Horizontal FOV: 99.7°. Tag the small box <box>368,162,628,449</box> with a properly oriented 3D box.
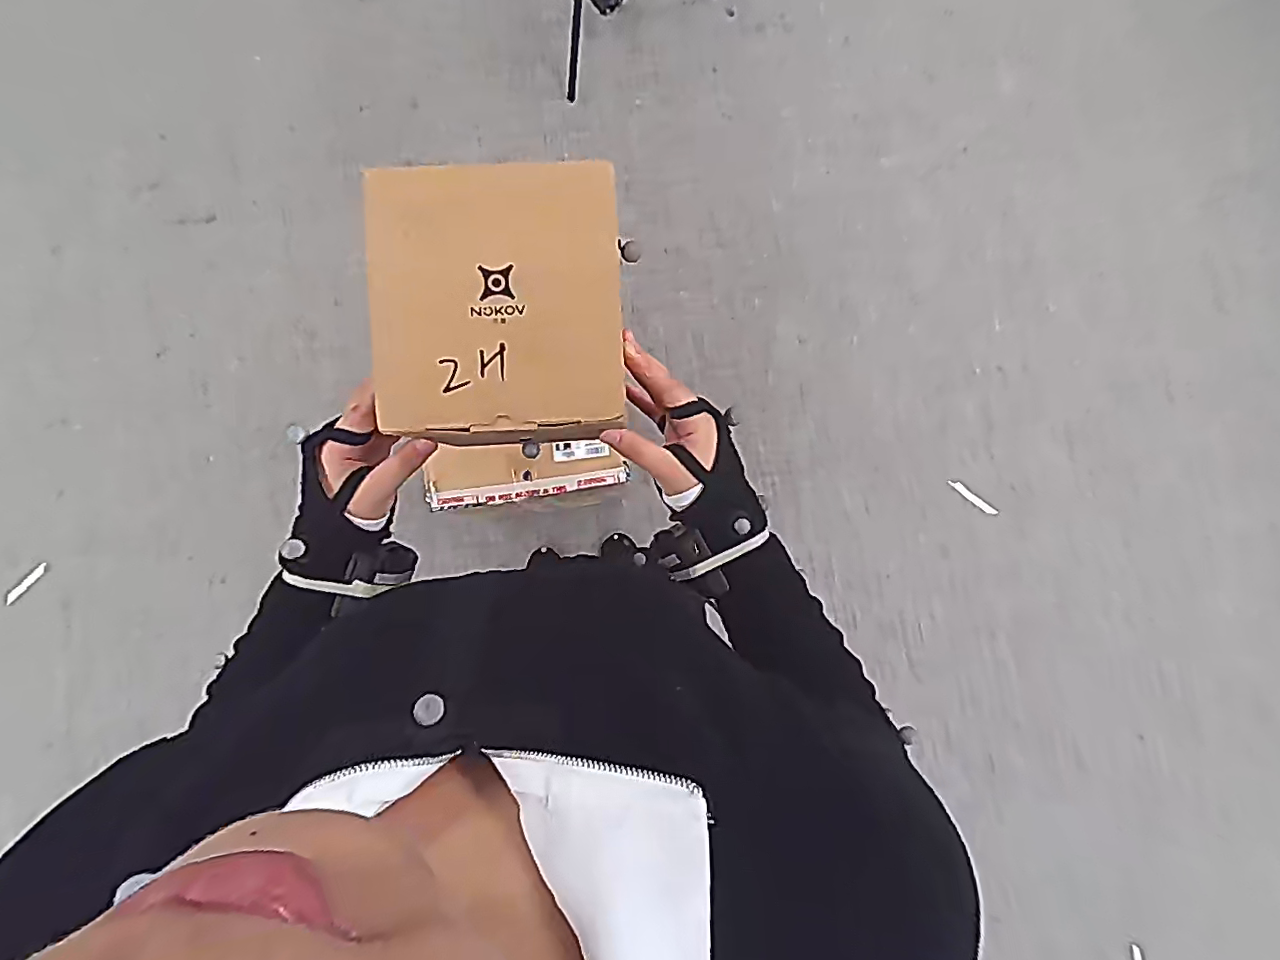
[{"bbox_3d":[-0.096,-0.119,0.431,0.168,0.176,0.179,-2,91,-2],"label":"small box"}]
